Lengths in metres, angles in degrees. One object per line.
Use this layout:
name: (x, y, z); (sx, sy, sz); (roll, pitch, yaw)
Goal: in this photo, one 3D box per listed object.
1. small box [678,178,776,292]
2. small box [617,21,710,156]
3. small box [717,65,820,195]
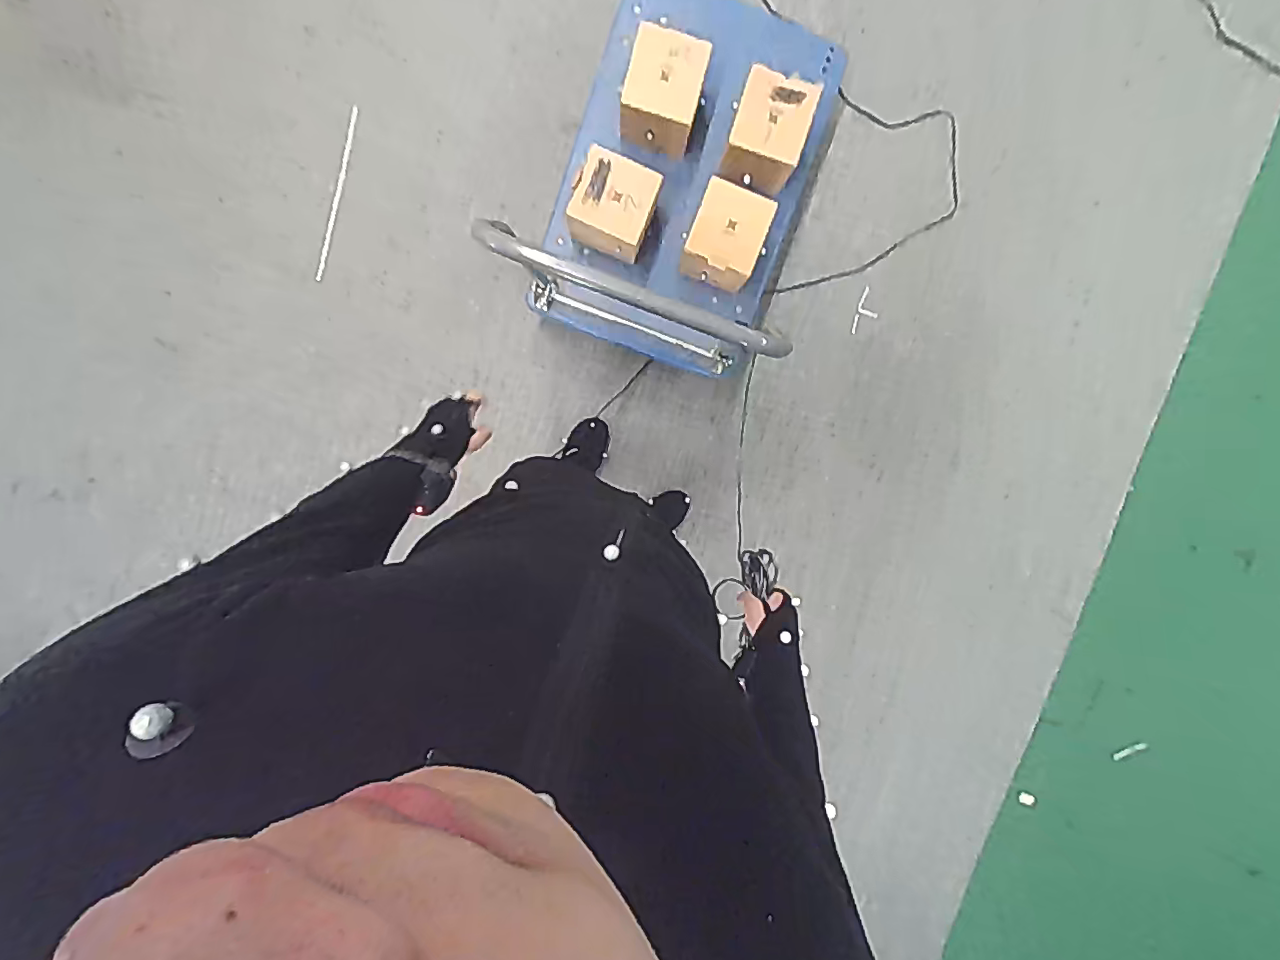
small box: (0.200, -0.580, 1.305); (0.168, 0.176, 0.179); (21, 97, -5)
small box: (0.050, -0.894, 1.257); (0.168, 0.176, 0.179); (16, 96, -5)
small box: (0.293, -0.815, 1.277); (0.168, 0.176, 0.179); (18, 98, -4)
